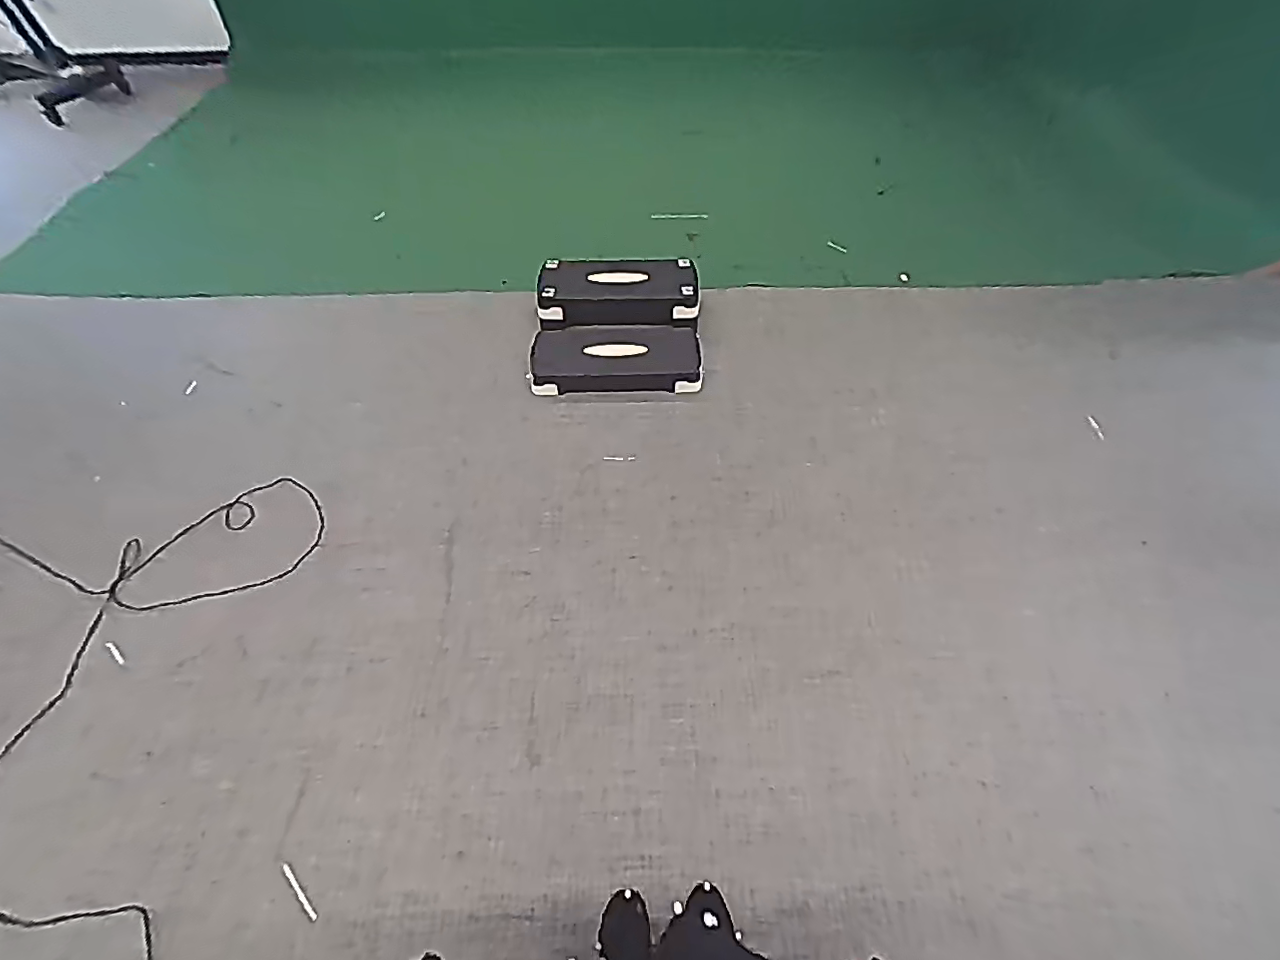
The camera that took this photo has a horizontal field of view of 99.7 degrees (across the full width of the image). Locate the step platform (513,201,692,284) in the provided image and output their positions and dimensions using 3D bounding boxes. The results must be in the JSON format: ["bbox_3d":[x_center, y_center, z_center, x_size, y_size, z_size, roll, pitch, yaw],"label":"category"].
[{"bbox_3d":[-0.140,-0.941,2.145,0.684,0.204,0.286,-1,54,0],"label":"step platform"}]
